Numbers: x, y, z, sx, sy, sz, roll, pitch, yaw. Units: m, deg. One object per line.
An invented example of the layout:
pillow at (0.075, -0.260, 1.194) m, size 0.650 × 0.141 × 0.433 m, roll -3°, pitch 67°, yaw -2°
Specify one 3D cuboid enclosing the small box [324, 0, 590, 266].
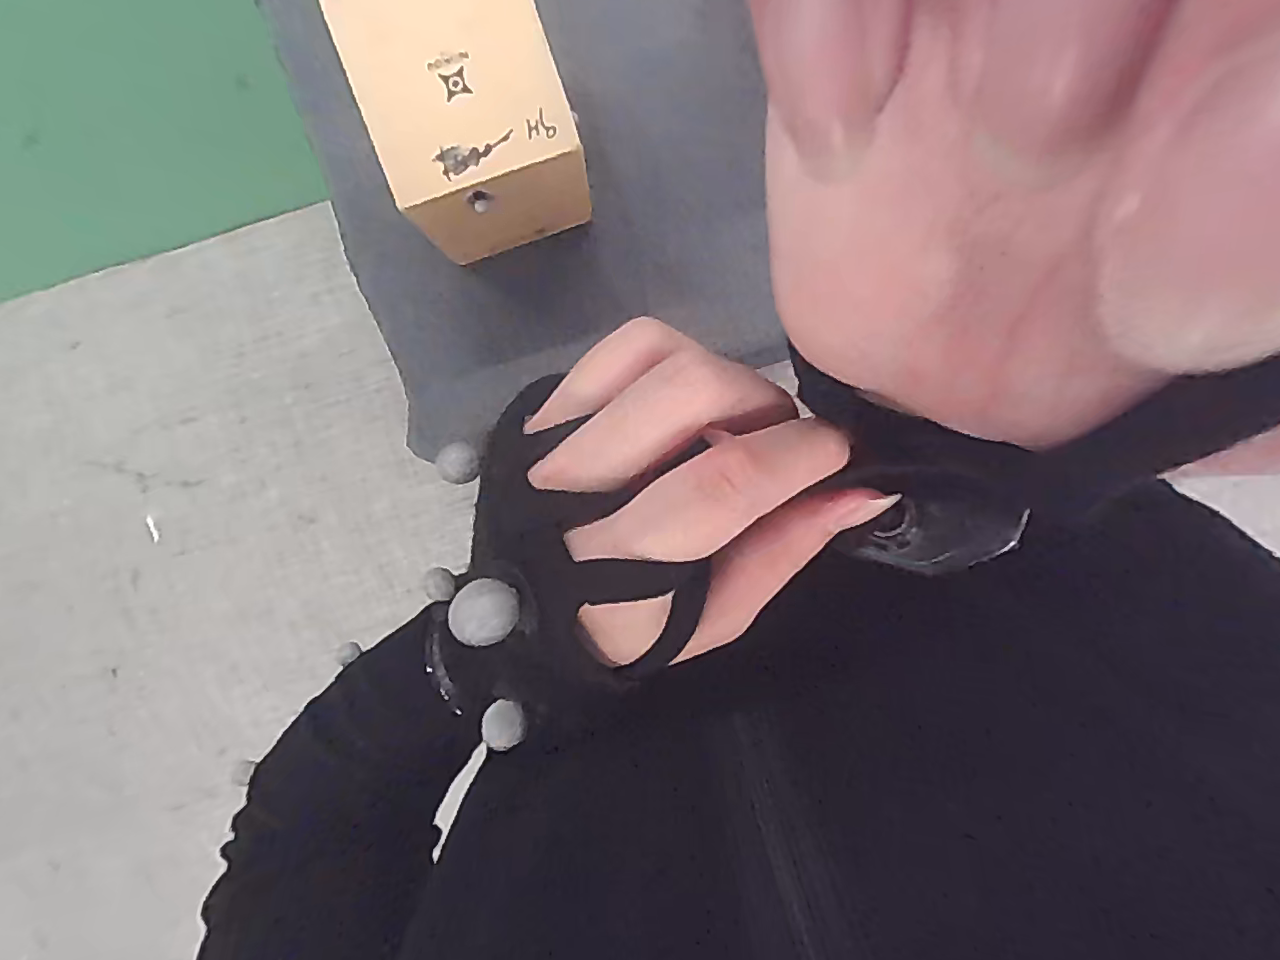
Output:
small box at (-0.154, -0.336, 0.521) m, size 0.168 × 0.176 × 0.179 m, roll -19°, pitch 96°, yaw 0°
